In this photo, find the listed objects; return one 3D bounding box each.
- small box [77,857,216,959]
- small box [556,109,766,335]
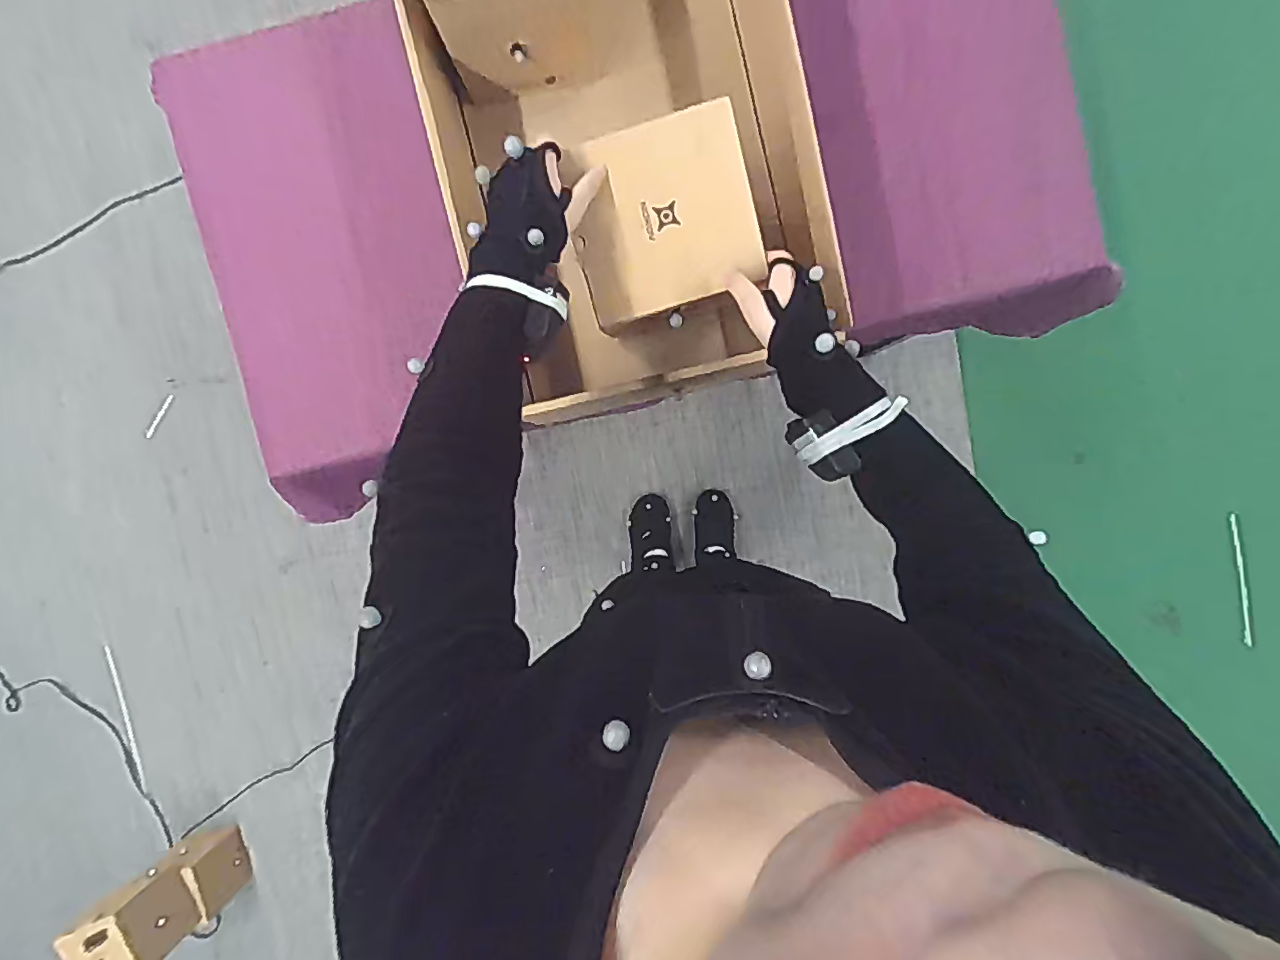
[{"bbox_3d":[-1.256,1.115,1.390,0.168,0.176,0.179,-24,93,4],"label":"small box"},{"bbox_3d":[0.025,-0.269,0.608,0.179,0.176,0.168,-15,101,7],"label":"small box"}]
